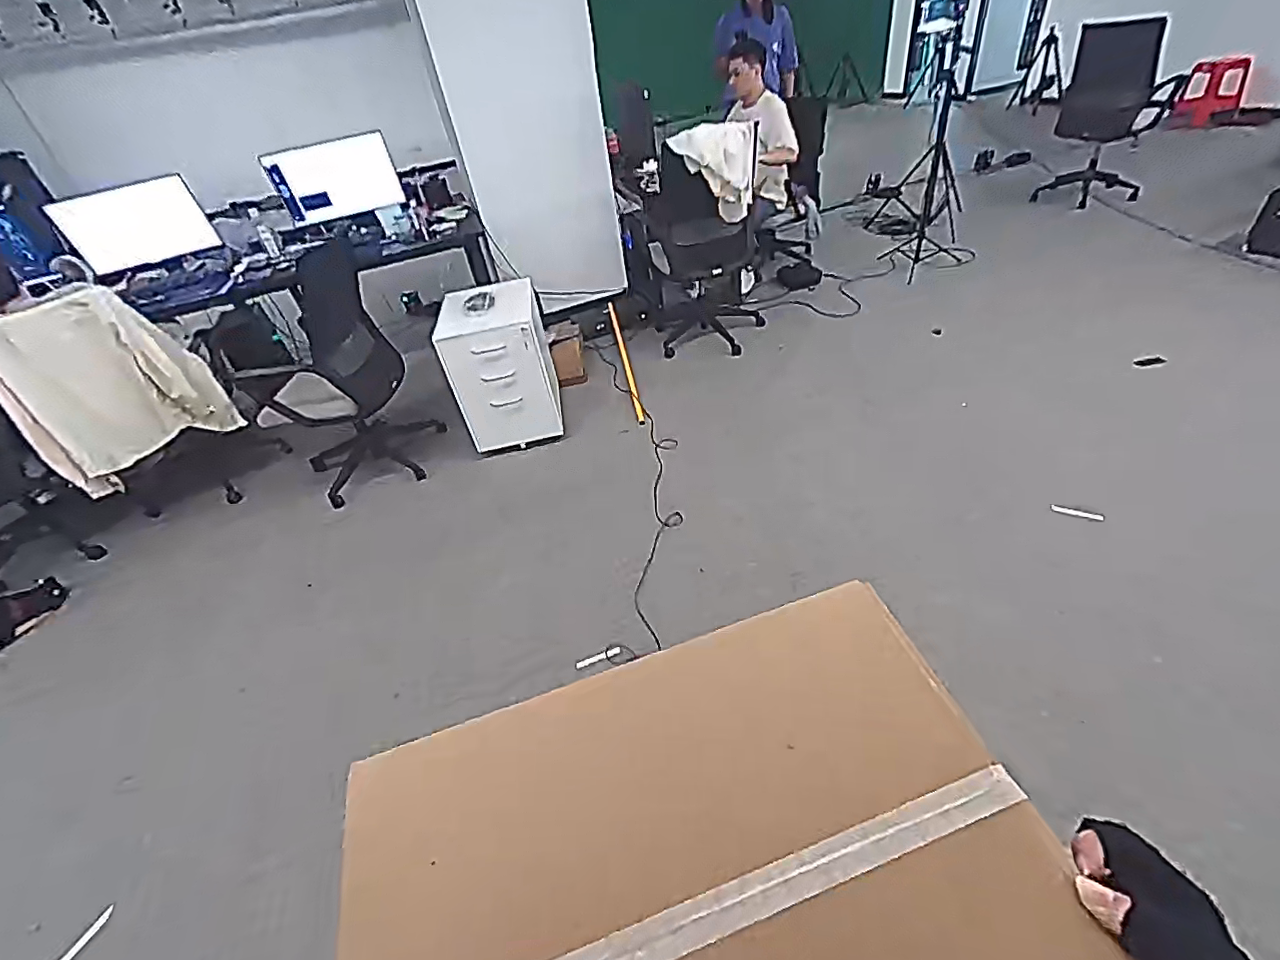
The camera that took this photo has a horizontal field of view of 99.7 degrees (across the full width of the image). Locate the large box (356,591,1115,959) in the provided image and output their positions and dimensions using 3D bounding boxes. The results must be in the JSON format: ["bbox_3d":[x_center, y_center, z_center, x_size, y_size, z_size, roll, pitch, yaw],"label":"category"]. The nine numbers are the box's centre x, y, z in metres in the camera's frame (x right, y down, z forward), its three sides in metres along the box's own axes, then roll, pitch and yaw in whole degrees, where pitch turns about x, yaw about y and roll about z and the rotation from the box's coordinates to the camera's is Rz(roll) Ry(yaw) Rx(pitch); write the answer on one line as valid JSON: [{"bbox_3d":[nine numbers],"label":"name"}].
[{"bbox_3d":[0.053,0.352,0.422,0.408,0.320,0.320,-19,47,-7],"label":"large box"}]
